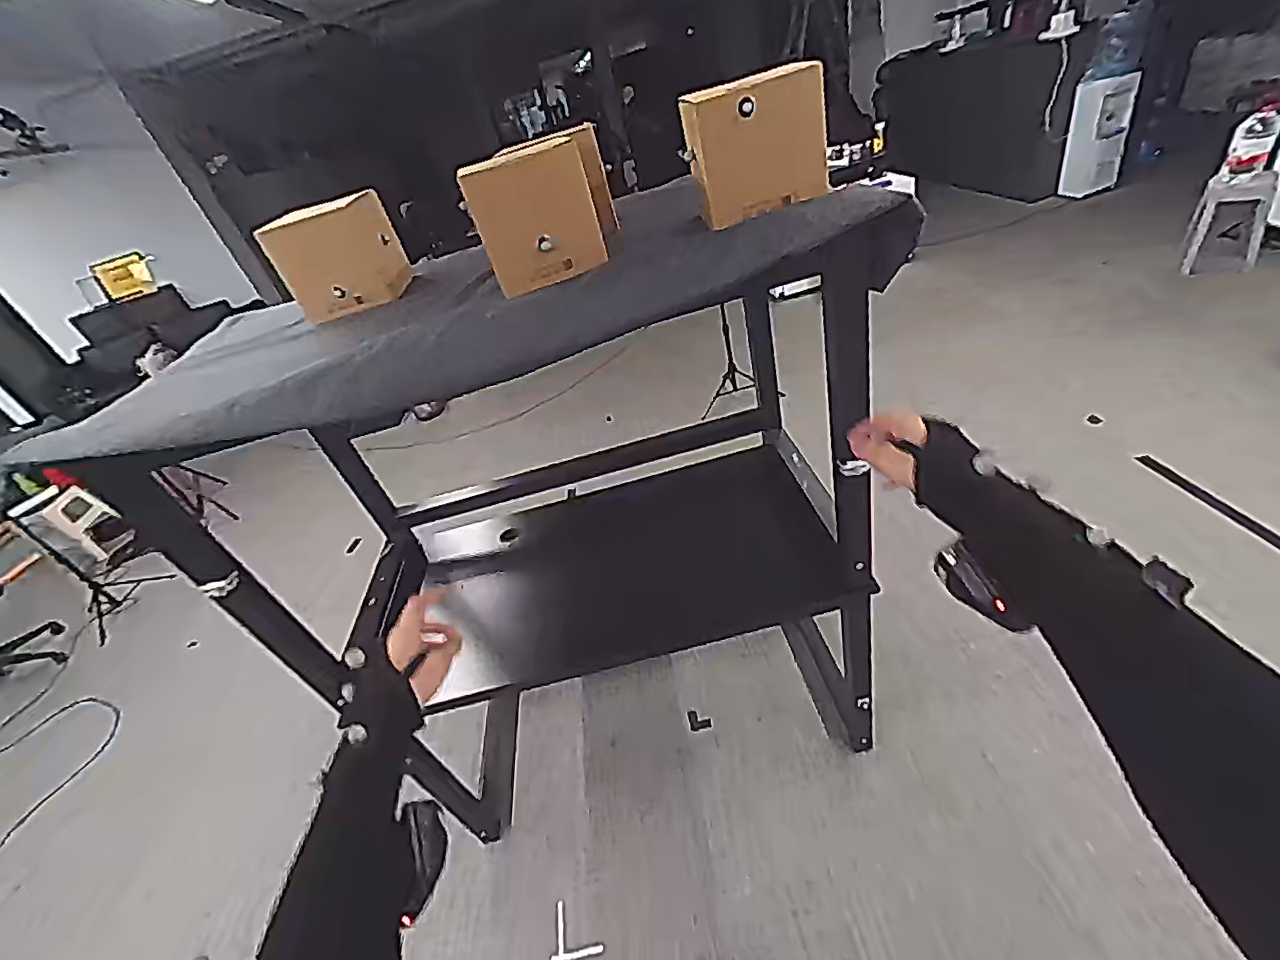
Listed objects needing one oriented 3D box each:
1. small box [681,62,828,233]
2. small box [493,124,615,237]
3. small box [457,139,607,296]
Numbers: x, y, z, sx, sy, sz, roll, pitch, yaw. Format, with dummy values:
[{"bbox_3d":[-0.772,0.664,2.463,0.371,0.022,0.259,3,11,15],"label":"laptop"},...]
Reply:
[{"bbox_3d":[0.163,-0.476,0.786,0.168,0.176,0.179,-14,35,6],"label":"small box"},{"bbox_3d":[-0.147,-0.533,0.996,0.179,0.176,0.168,-14,35,4],"label":"small box"},{"bbox_3d":[-0.162,-0.399,0.822,0.168,0.176,0.179,-21,36,-4],"label":"small box"}]
